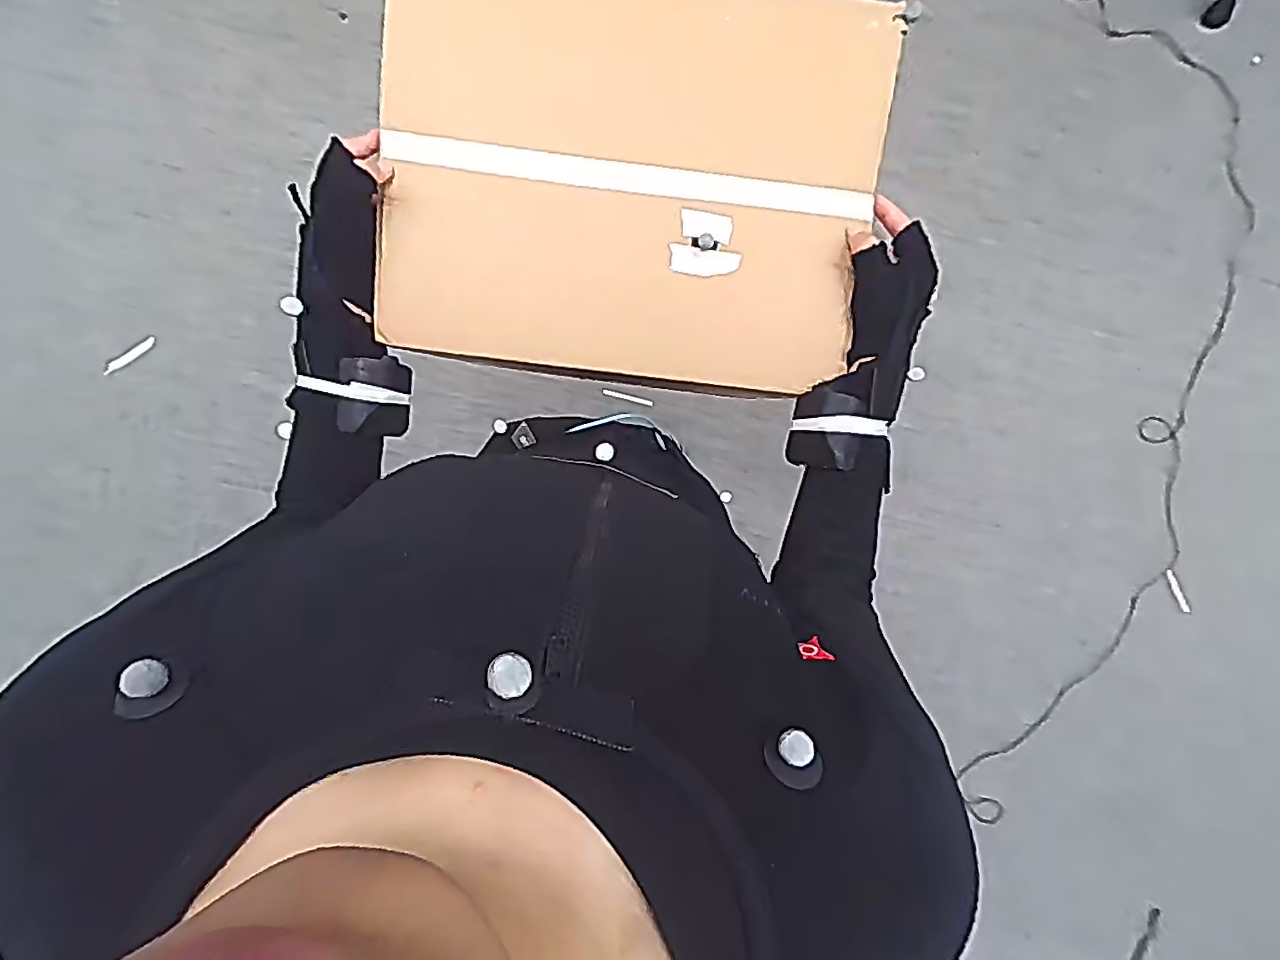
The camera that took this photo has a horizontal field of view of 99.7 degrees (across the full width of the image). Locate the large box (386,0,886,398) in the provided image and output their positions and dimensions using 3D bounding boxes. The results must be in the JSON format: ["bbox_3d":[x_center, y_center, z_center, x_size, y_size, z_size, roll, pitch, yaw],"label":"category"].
[{"bbox_3d":[-0.016,-0.266,0.603,0.408,0.320,0.320,6,100,-4],"label":"large box"}]
